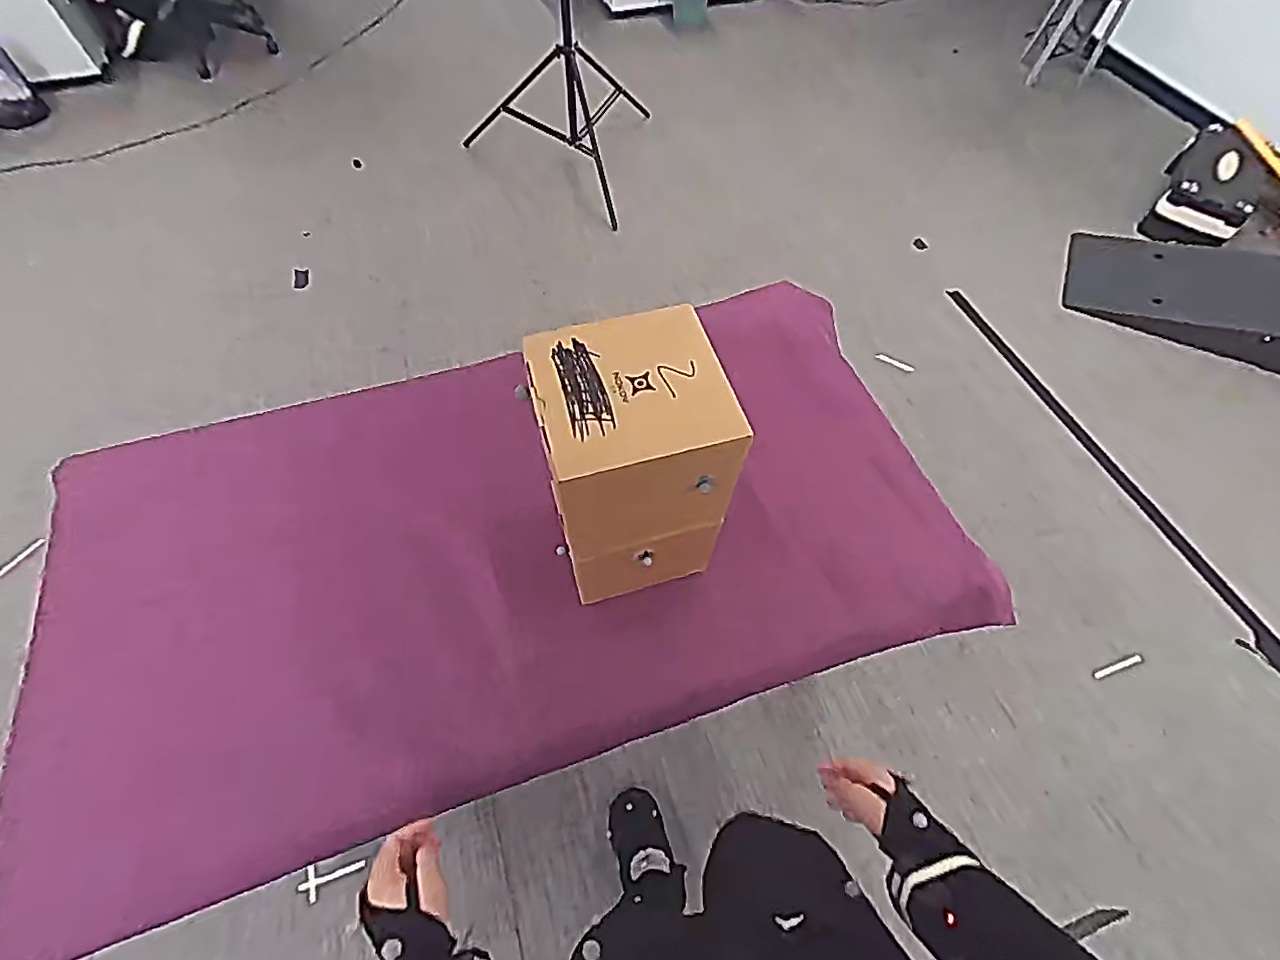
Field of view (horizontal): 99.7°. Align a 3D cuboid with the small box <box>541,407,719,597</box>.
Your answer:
[{"bbox_3d":[-0.016,0.035,0.700,0.179,0.176,0.168,-14,63,-10],"label":"small box"}]
